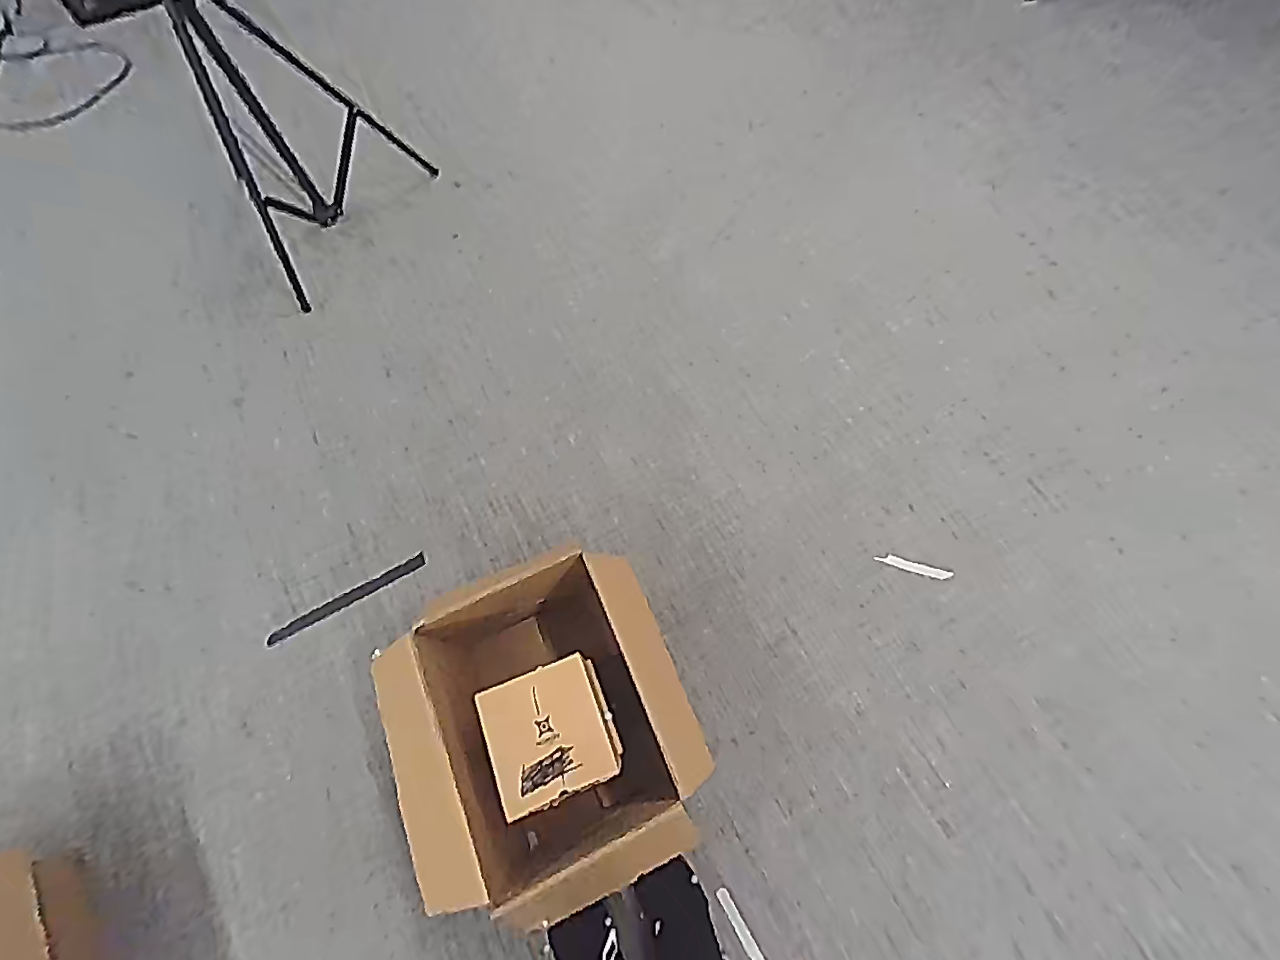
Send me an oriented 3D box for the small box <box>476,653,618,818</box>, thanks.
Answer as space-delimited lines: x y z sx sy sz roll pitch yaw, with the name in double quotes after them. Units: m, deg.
-0.138 0.393 0.852 0.168 0.176 0.179 -20 67 -10 "small box"
